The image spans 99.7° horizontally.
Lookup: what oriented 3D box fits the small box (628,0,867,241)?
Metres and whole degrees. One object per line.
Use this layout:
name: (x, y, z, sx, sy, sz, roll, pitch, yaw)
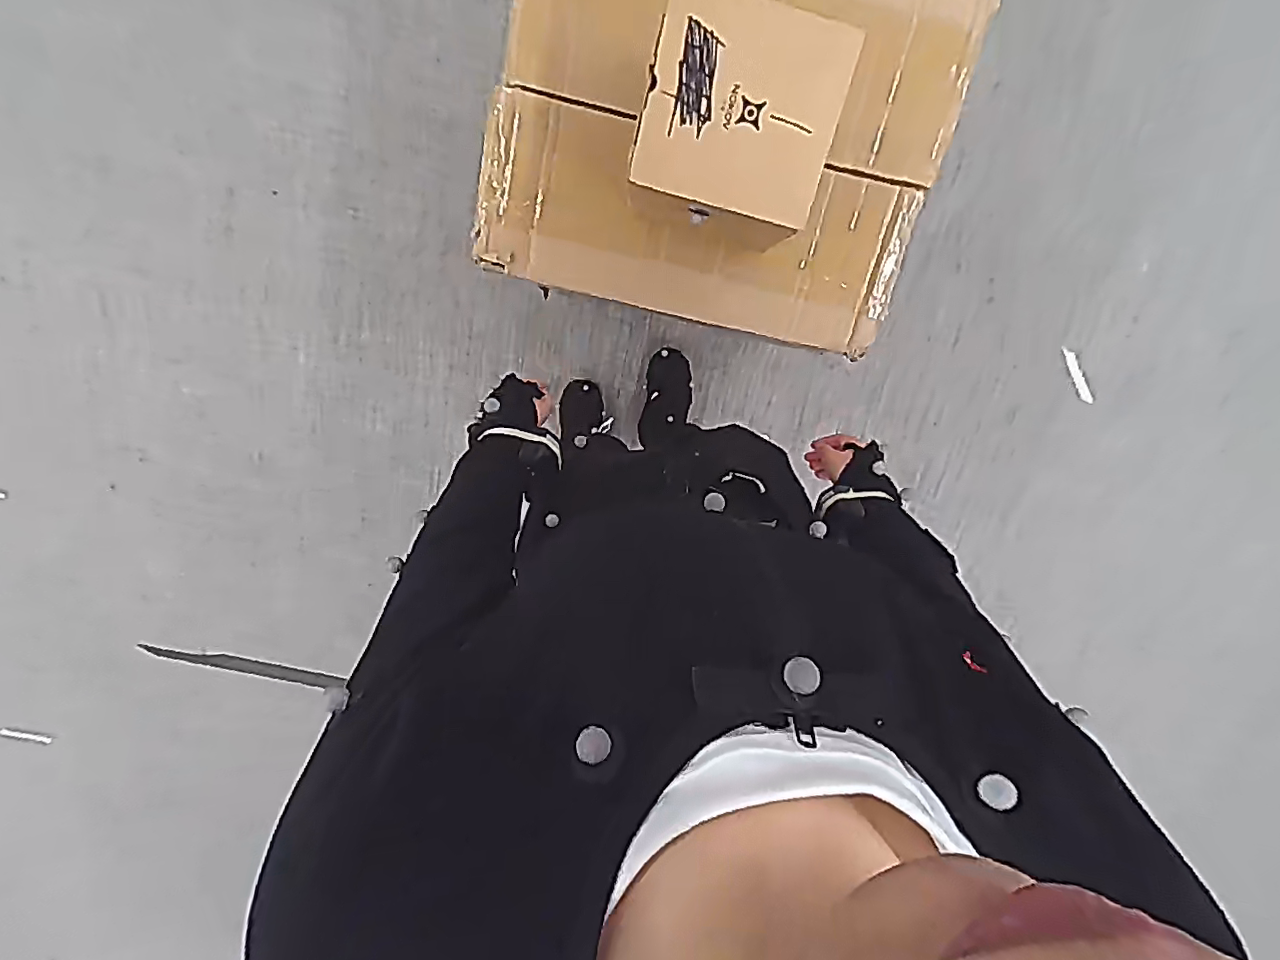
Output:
small box: (0.093, -0.359, 0.557, 0.179, 0.176, 0.168, 14, 107, -4)
